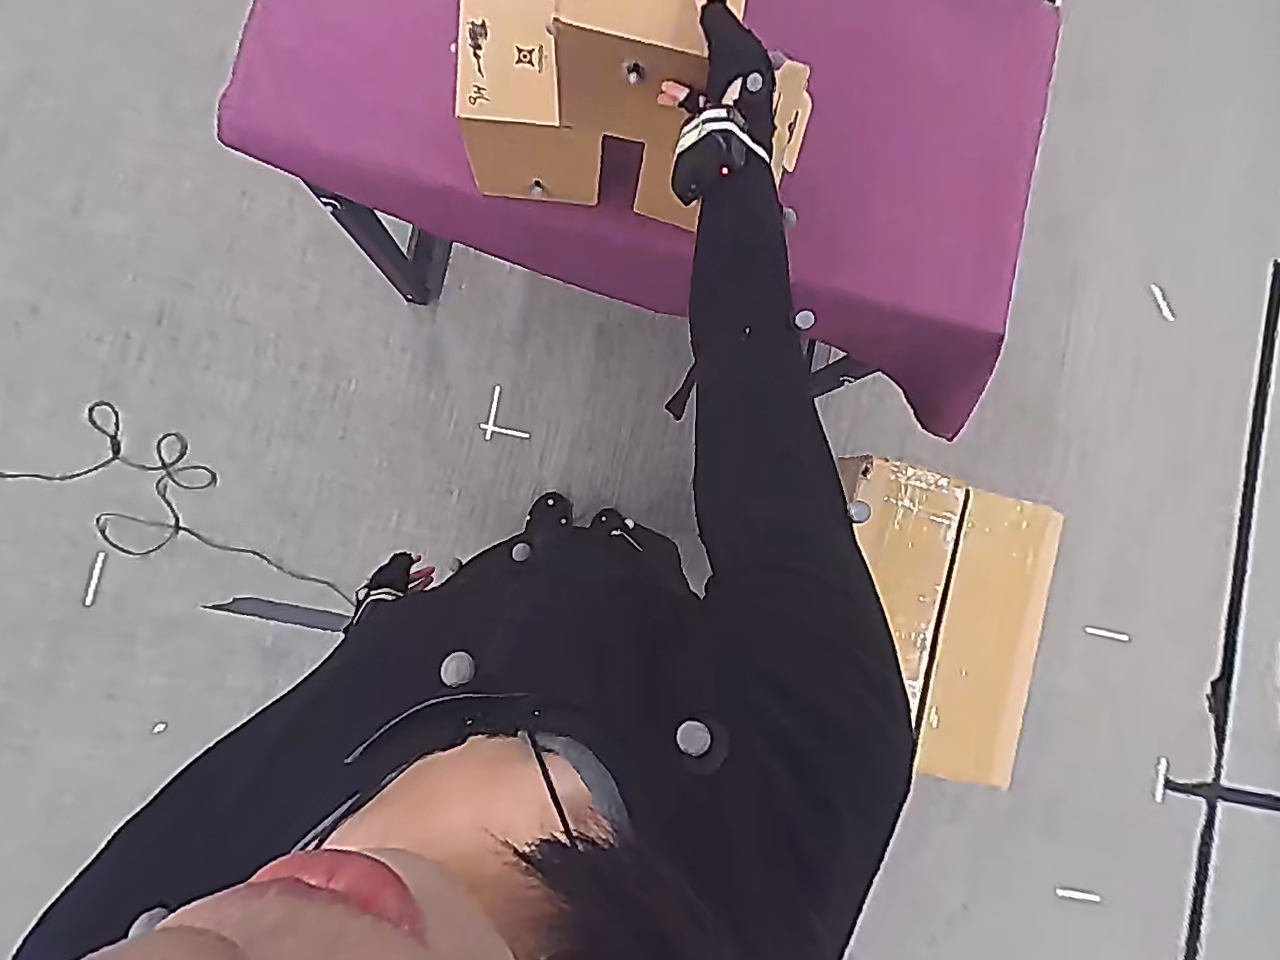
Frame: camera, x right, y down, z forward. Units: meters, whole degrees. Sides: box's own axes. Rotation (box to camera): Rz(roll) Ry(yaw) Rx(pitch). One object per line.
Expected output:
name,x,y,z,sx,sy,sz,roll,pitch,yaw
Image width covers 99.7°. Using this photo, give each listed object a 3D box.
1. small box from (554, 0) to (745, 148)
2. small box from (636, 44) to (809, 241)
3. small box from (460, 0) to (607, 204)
small box,0.009,-0.491,0.577,0.179,0.176,0.168,8,94,-7
small box,0.104,-0.465,0.756,0.179,0.176,0.168,16,86,-5
small box,-0.137,-0.501,0.731,0.179,0.176,0.168,2,87,-8
